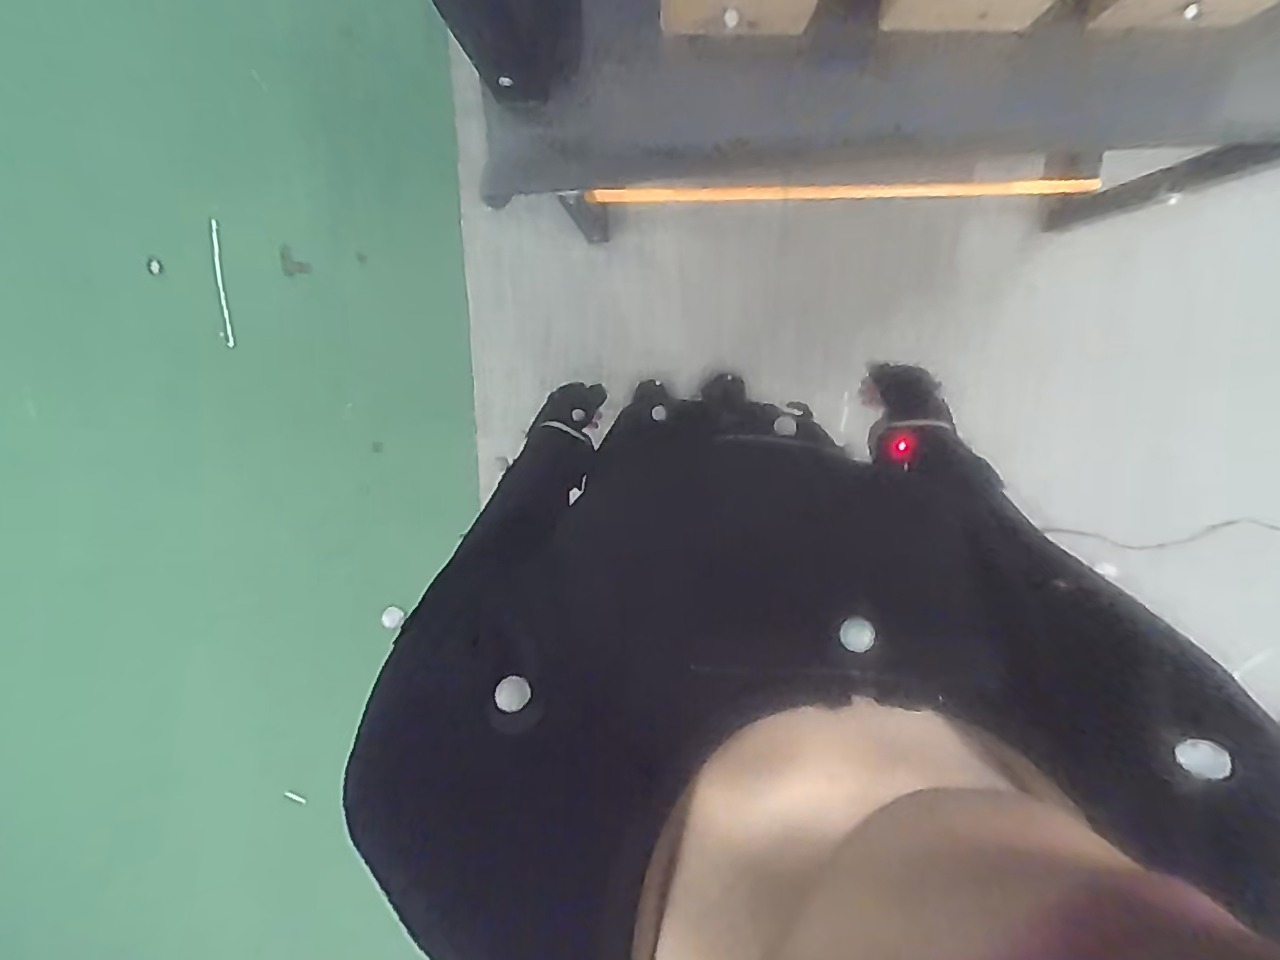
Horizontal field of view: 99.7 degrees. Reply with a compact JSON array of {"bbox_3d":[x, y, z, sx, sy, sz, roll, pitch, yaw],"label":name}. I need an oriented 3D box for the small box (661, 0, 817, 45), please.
[{"bbox_3d":[0.104,-0.576,0.531,0.168,0.176,0.179,2,103,3],"label":"small box"}]
